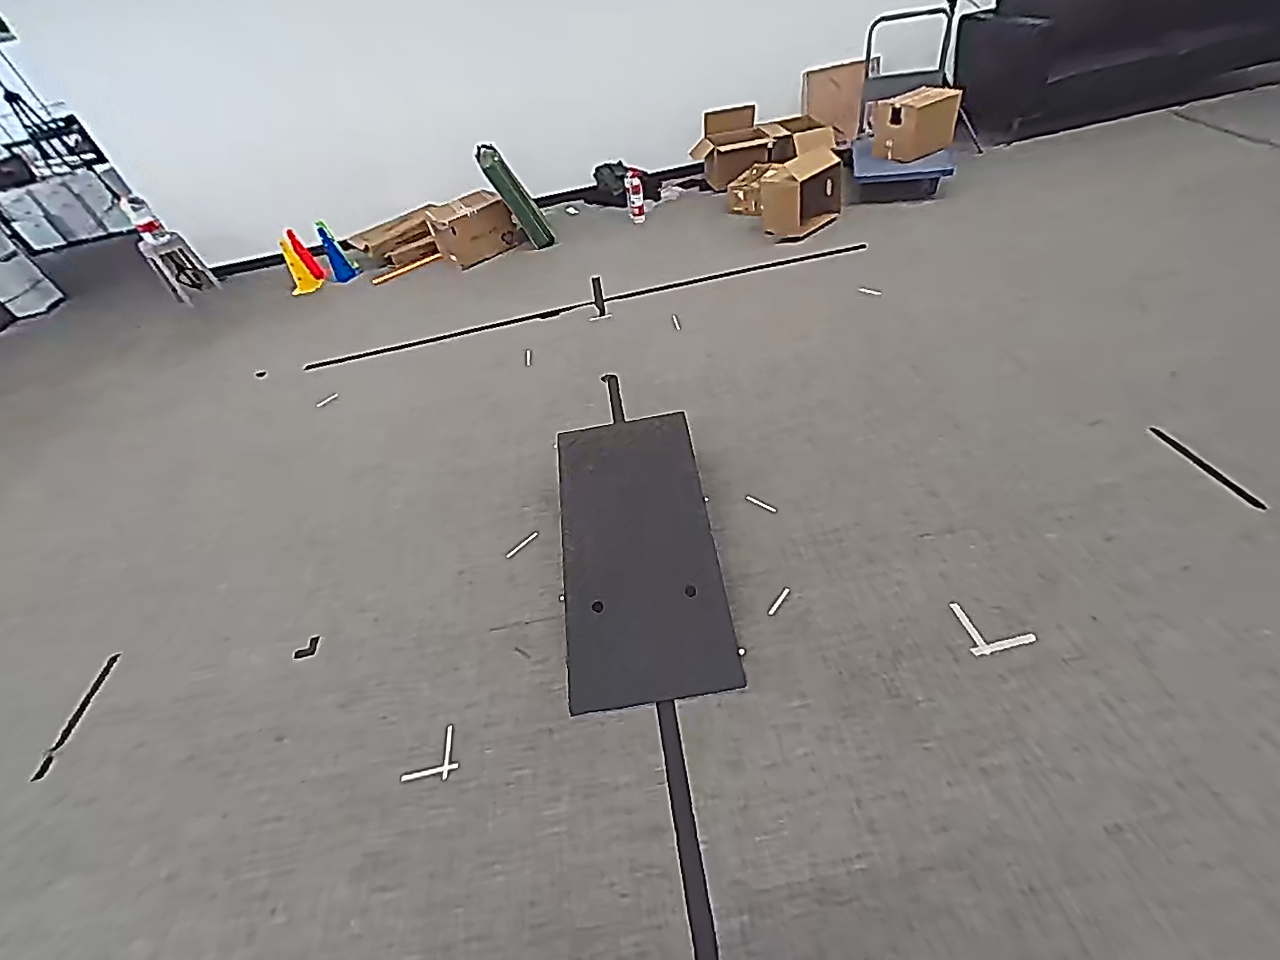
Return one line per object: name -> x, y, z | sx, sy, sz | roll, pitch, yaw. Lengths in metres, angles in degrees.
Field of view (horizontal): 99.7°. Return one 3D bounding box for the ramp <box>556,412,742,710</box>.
ramp -> -0.015, 0.190, 1.760 | 0.509, 0.206, 0.991 | -11, 45, 0
